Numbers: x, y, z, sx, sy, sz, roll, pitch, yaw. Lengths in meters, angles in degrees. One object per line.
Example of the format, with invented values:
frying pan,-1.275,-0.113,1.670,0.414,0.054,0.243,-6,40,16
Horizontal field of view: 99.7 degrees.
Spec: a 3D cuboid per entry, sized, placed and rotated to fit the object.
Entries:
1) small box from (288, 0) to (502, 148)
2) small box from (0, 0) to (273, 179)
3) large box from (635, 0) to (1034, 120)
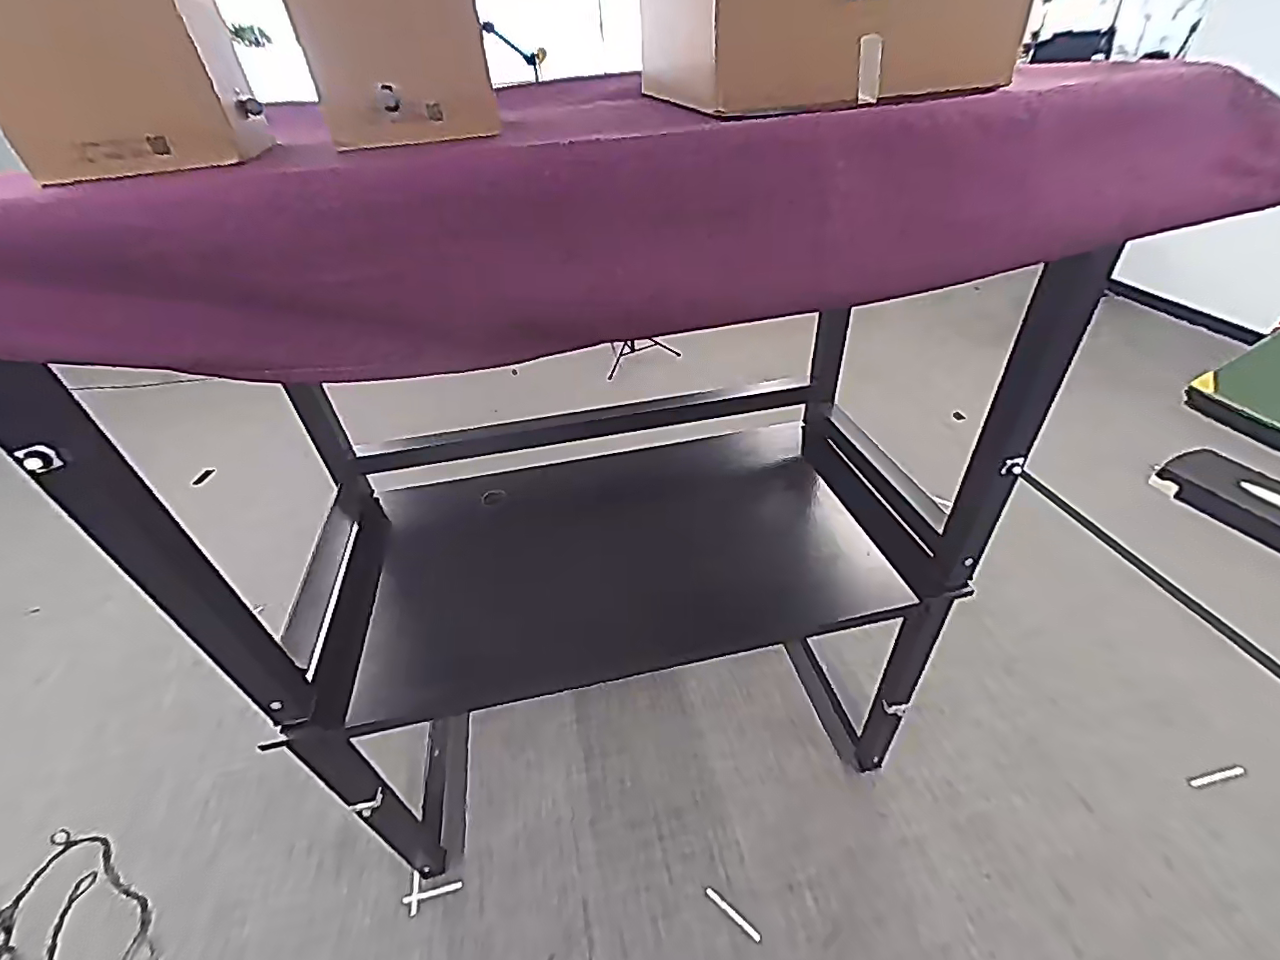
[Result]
small box,-0.243,-0.452,0.556,0.168,0.176,0.179,-12,39,-7
small box,-0.473,-0.387,0.498,0.168,0.176,0.179,-16,39,-13
large box,0.174,-0.596,0.582,0.320,0.320,0.408,-9,38,-6
